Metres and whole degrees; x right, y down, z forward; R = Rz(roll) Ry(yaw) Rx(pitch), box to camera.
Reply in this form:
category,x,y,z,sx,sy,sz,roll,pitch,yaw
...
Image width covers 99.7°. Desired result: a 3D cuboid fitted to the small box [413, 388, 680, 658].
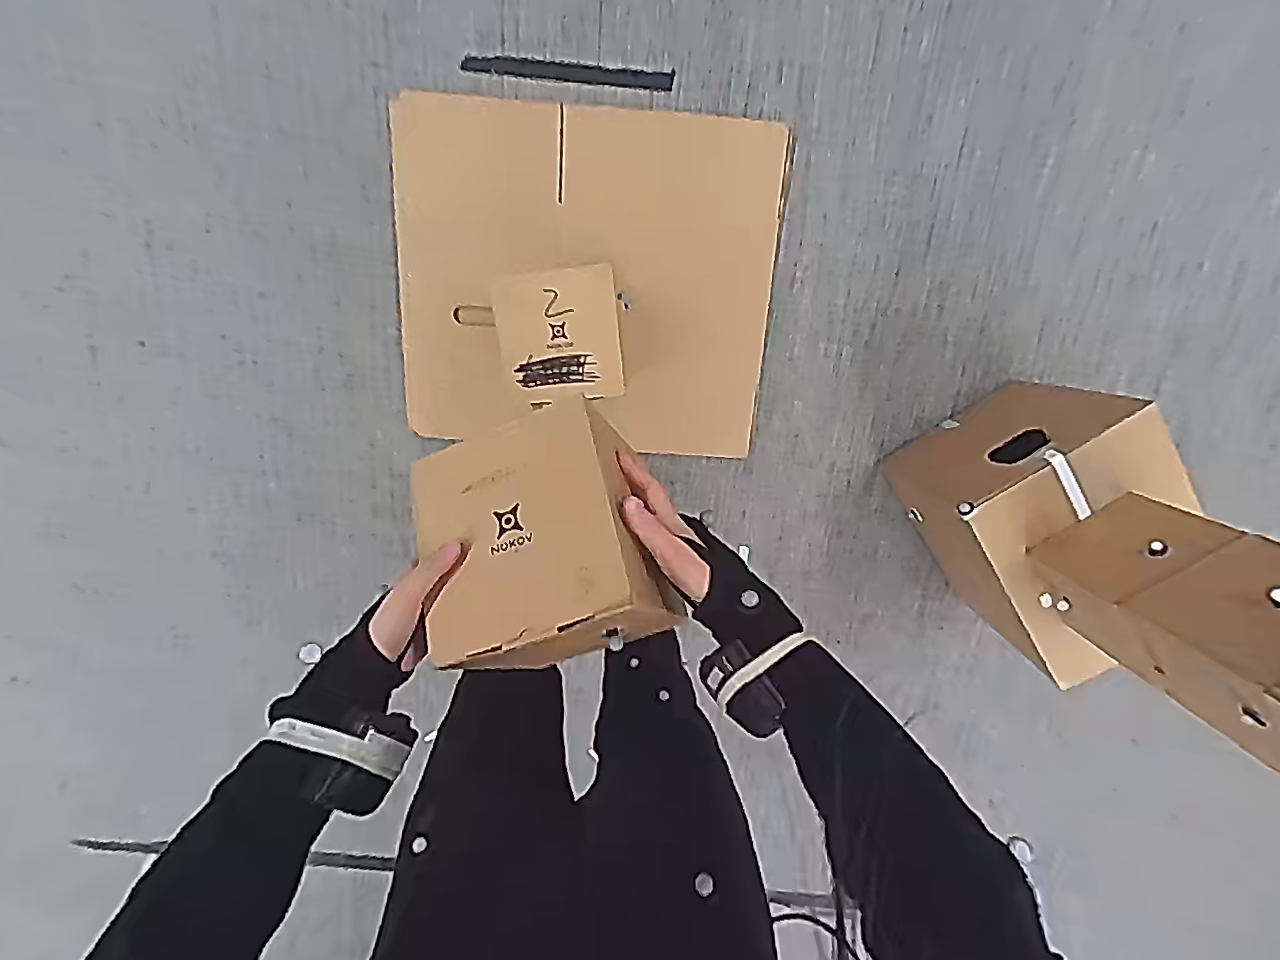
category,x,y,z,sx,sy,sz,roll,pitch,yaw
small box,-0.076,0.052,0.492,0.168,0.176,0.179,-21,67,10

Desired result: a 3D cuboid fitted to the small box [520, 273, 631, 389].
category,x,y,z,sx,sy,sz,roll,pitch,yaw
small box,-0.105,-0.262,0.958,0.168,0.176,0.179,-4,107,3

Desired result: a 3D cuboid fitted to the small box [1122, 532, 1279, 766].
category,x,y,z,sx,sy,sz,roll,pitch,yaw
small box,0.725,0.188,0.619,0.179,0.176,0.168,-34,104,9

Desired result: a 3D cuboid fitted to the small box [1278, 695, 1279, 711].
category,x,y,z,sx,sy,sz,roll,pitch,yaw
small box,0.727,0.239,0.464,0.179,0.176,0.168,-35,104,9

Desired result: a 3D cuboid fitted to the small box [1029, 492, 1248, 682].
category,x,y,z,sx,sy,sz,roll,pitch,yaw
small box,0.721,0.142,0.776,0.179,0.176,0.168,-34,104,10
